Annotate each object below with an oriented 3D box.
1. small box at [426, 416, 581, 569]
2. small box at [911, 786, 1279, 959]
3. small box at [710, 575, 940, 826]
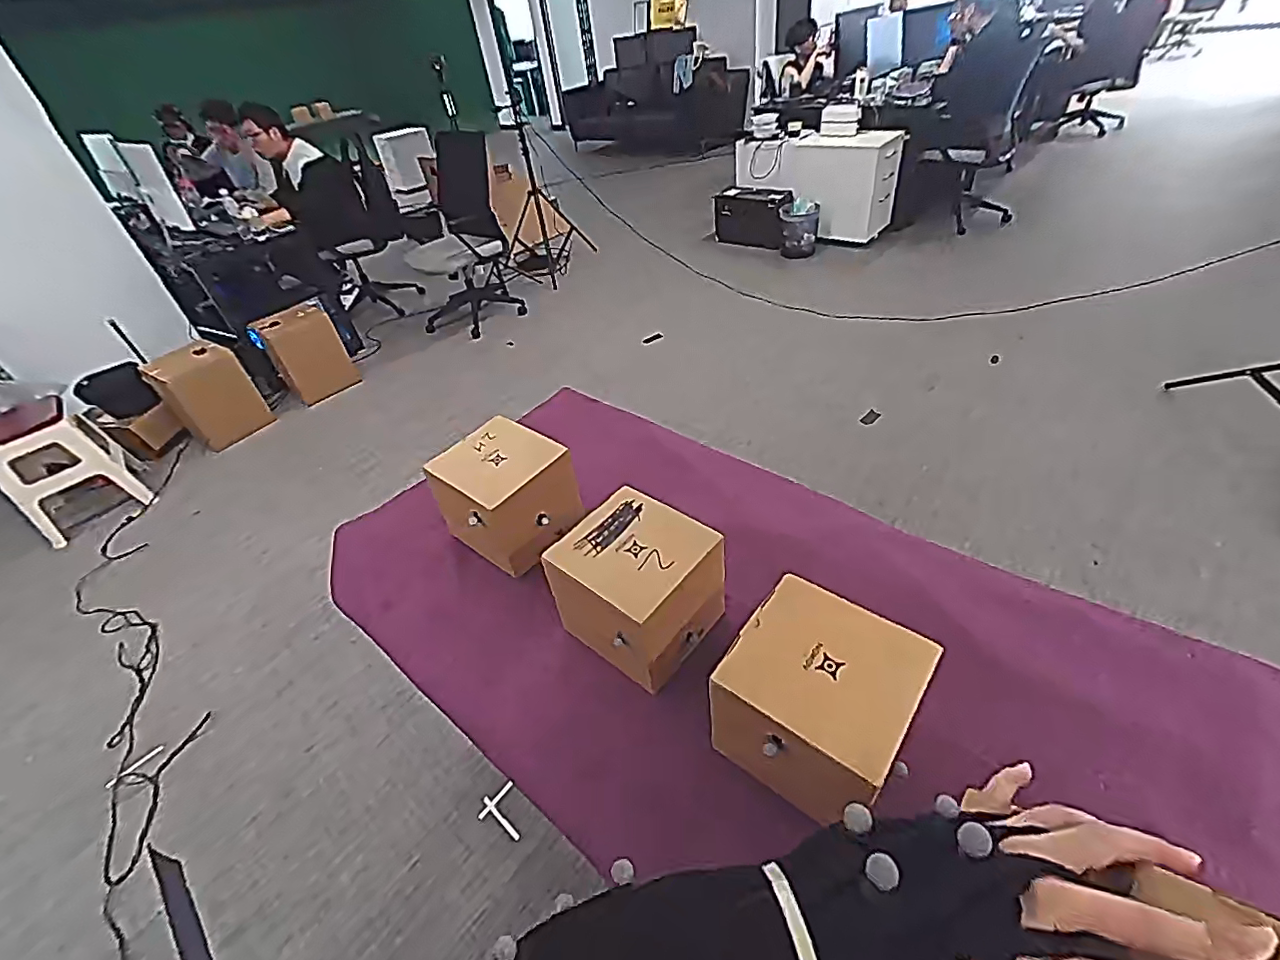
[{"bbox_3d":[-0.221,0.025,0.919,0.179,0.176,0.168,26,51,30],"label":"small box"},{"bbox_3d":[0.272,0.311,0.286,0.179,0.168,0.176,37,73,-7],"label":"small box"},{"bbox_3d":[0.197,0.245,0.601,0.179,0.176,0.168,24,51,33],"label":"small box"}]
